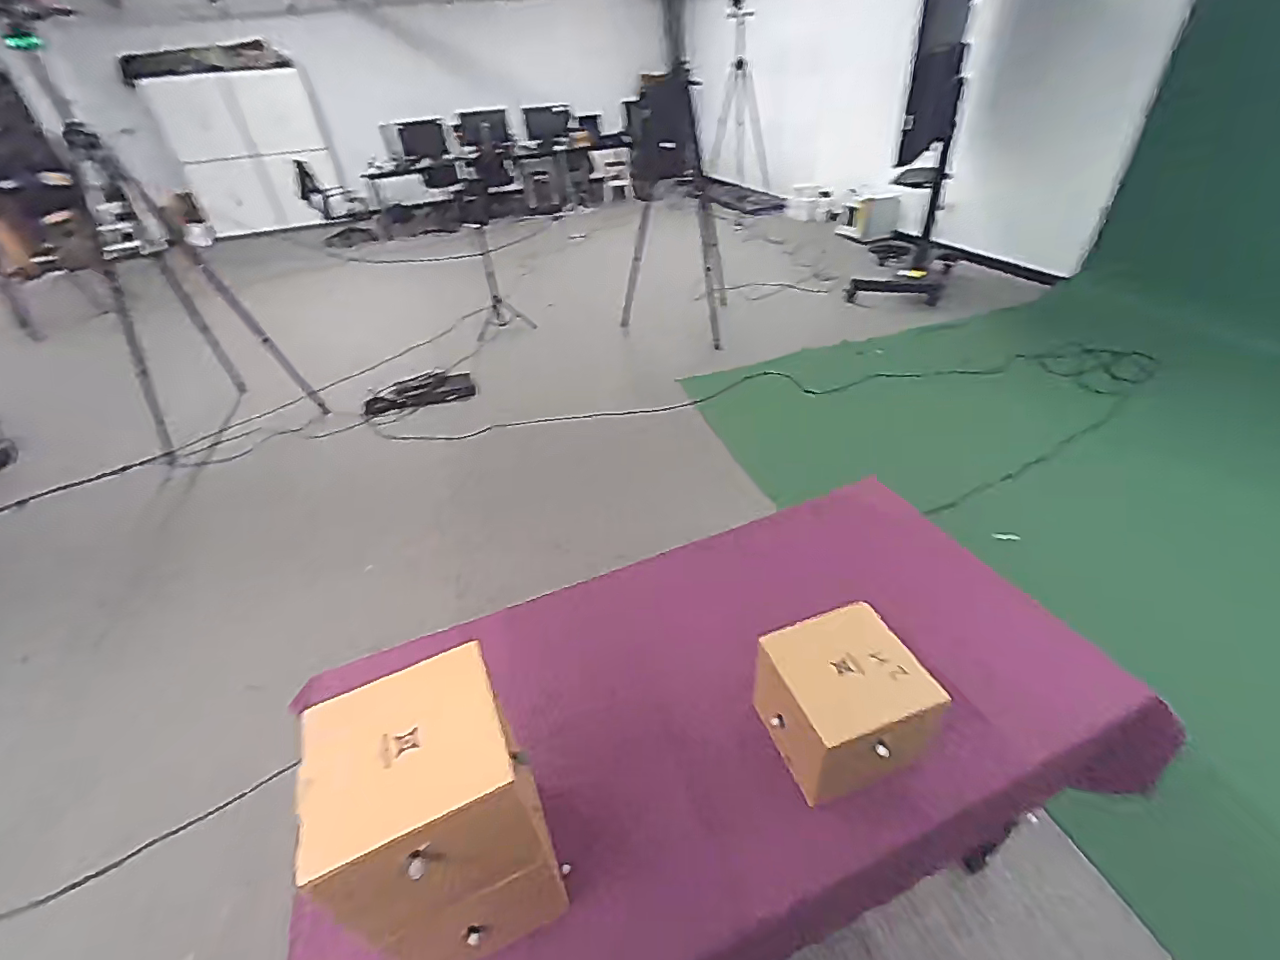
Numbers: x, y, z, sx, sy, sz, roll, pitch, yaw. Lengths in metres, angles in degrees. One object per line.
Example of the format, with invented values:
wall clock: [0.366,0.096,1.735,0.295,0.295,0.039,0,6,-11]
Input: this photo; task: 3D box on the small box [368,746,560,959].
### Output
small box: [-0.203,0.433,0.641,0.179,0.176,0.168,-20,39,-16]

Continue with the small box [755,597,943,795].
small box: [0.273,0.299,0.750,0.179,0.176,0.168,-15,39,-11]

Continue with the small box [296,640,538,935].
small box: [-0.212,0.303,0.544,0.179,0.176,0.168,-21,40,-17]
